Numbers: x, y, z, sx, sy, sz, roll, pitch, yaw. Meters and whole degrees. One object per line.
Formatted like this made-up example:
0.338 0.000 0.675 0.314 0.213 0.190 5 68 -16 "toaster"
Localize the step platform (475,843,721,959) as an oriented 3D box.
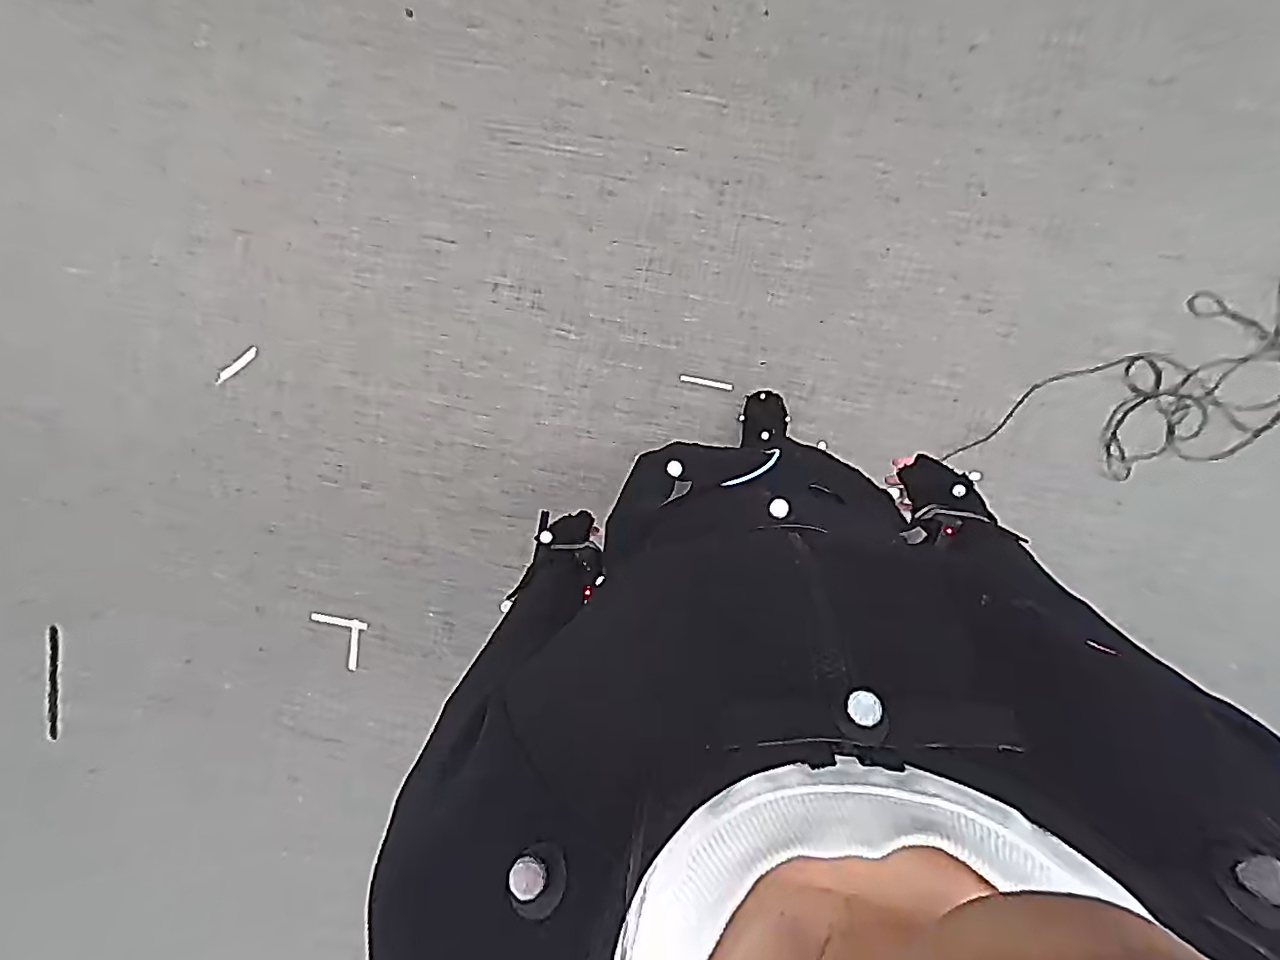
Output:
-0.116 1.300 1.542 0.684 0.204 0.286 11 97 5 "step platform"
